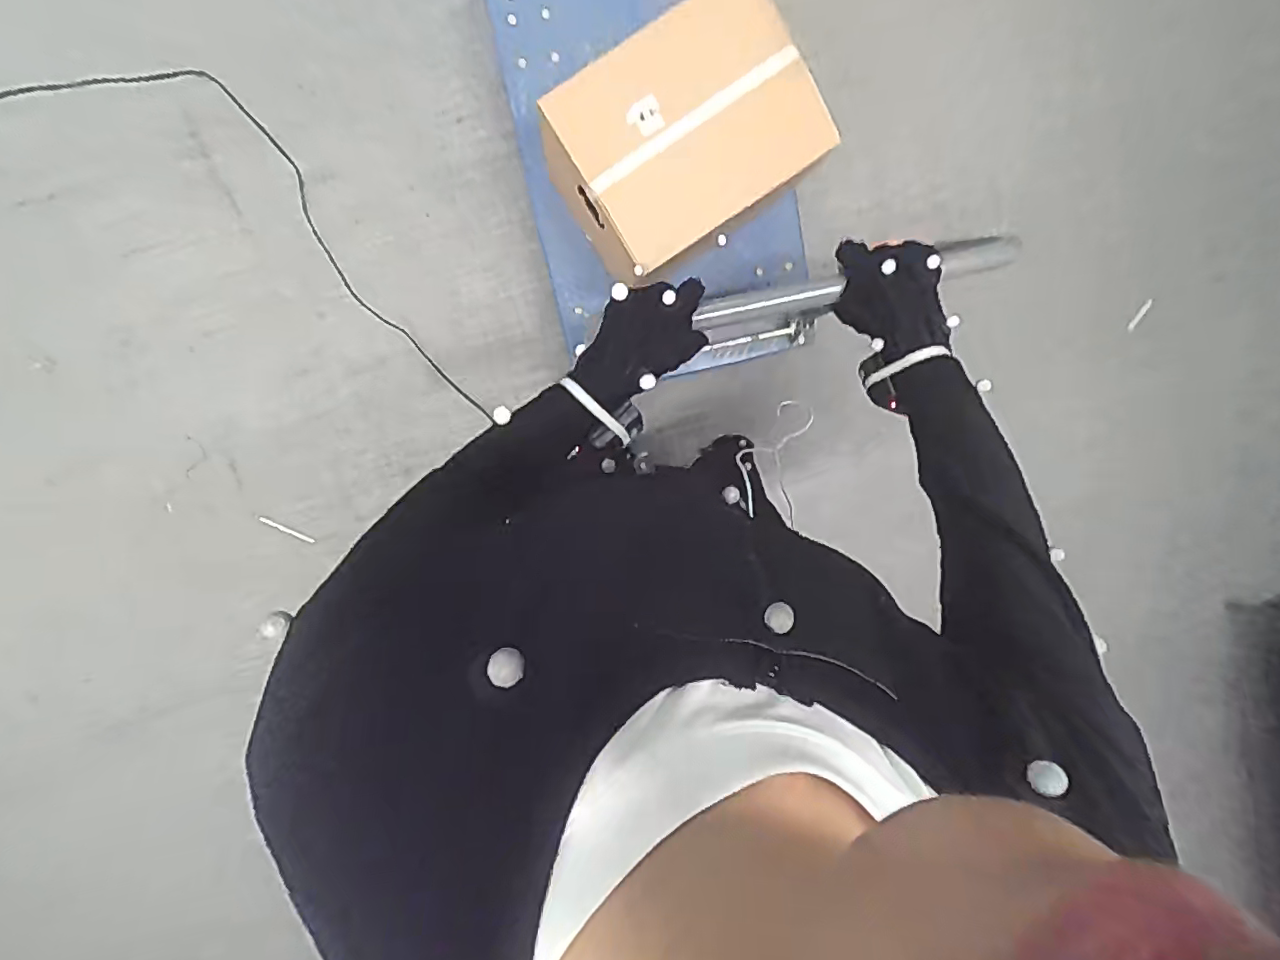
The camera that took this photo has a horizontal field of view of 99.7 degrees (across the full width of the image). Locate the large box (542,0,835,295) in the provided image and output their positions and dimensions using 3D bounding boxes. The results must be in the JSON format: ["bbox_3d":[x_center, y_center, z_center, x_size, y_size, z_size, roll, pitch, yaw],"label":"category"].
[{"bbox_3d":[0.073,-0.611,1.028,0.408,0.320,0.320,-33,102,1],"label":"large box"}]
